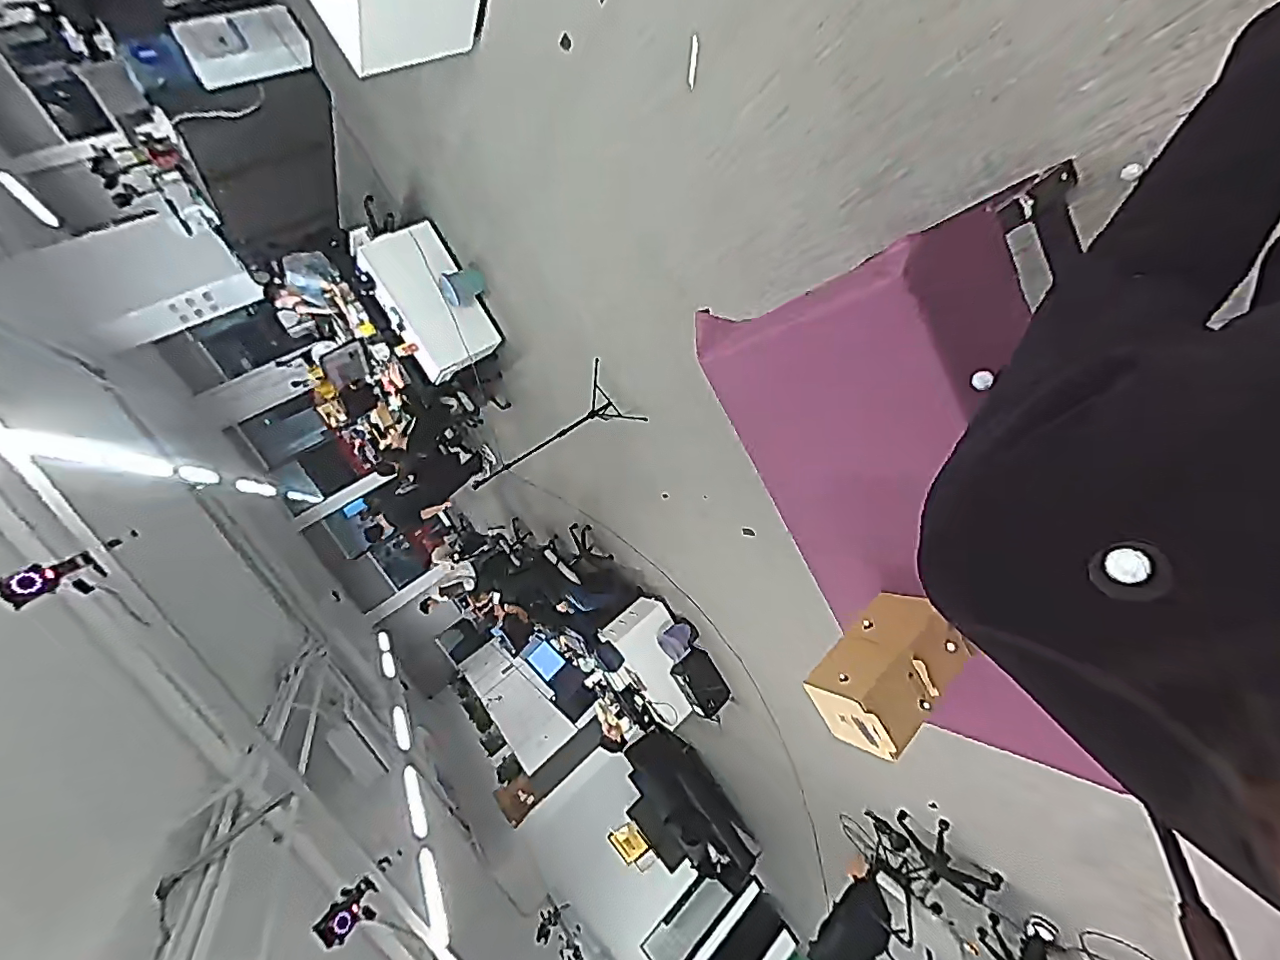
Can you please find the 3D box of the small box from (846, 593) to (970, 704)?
[{"bbox_3d":[0.636,0.388,1.285,0.168,0.176,0.179,59,155,-12],"label":"small box"}]

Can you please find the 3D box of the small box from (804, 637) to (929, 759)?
[{"bbox_3d":[0.516,0.478,1.219,0.168,0.176,0.179,58,156,-8],"label":"small box"}]
